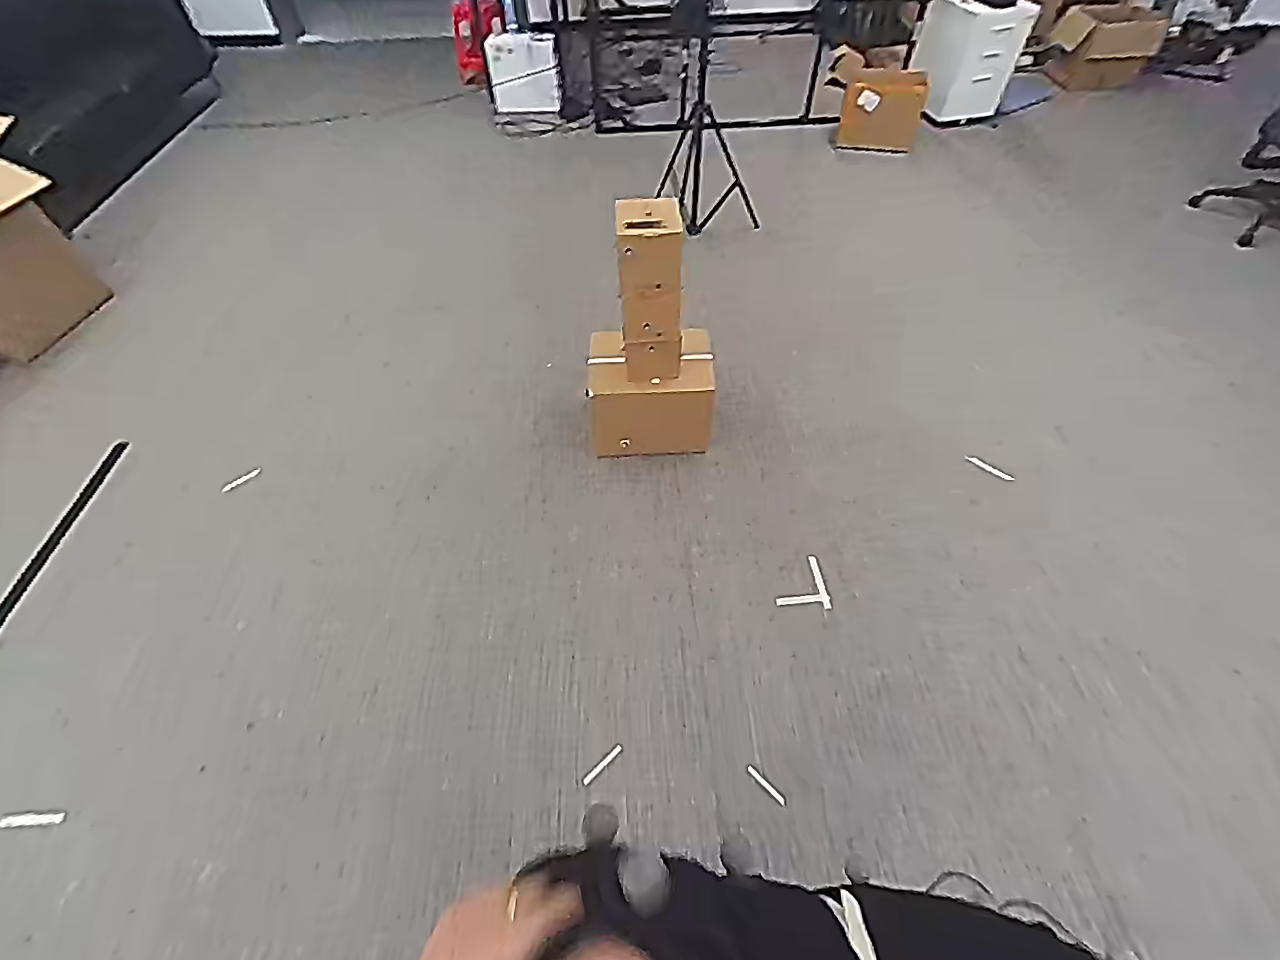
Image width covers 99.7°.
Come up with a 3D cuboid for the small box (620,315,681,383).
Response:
[{"bbox_3d":[0.033,-0.423,1.708,0.179,0.176,0.168,-4,54,-2],"label":"small box"}]

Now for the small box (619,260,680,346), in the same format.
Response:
[{"bbox_3d":[0.025,-0.513,1.573,0.168,0.176,0.179,-4,54,-1],"label":"small box"}]
